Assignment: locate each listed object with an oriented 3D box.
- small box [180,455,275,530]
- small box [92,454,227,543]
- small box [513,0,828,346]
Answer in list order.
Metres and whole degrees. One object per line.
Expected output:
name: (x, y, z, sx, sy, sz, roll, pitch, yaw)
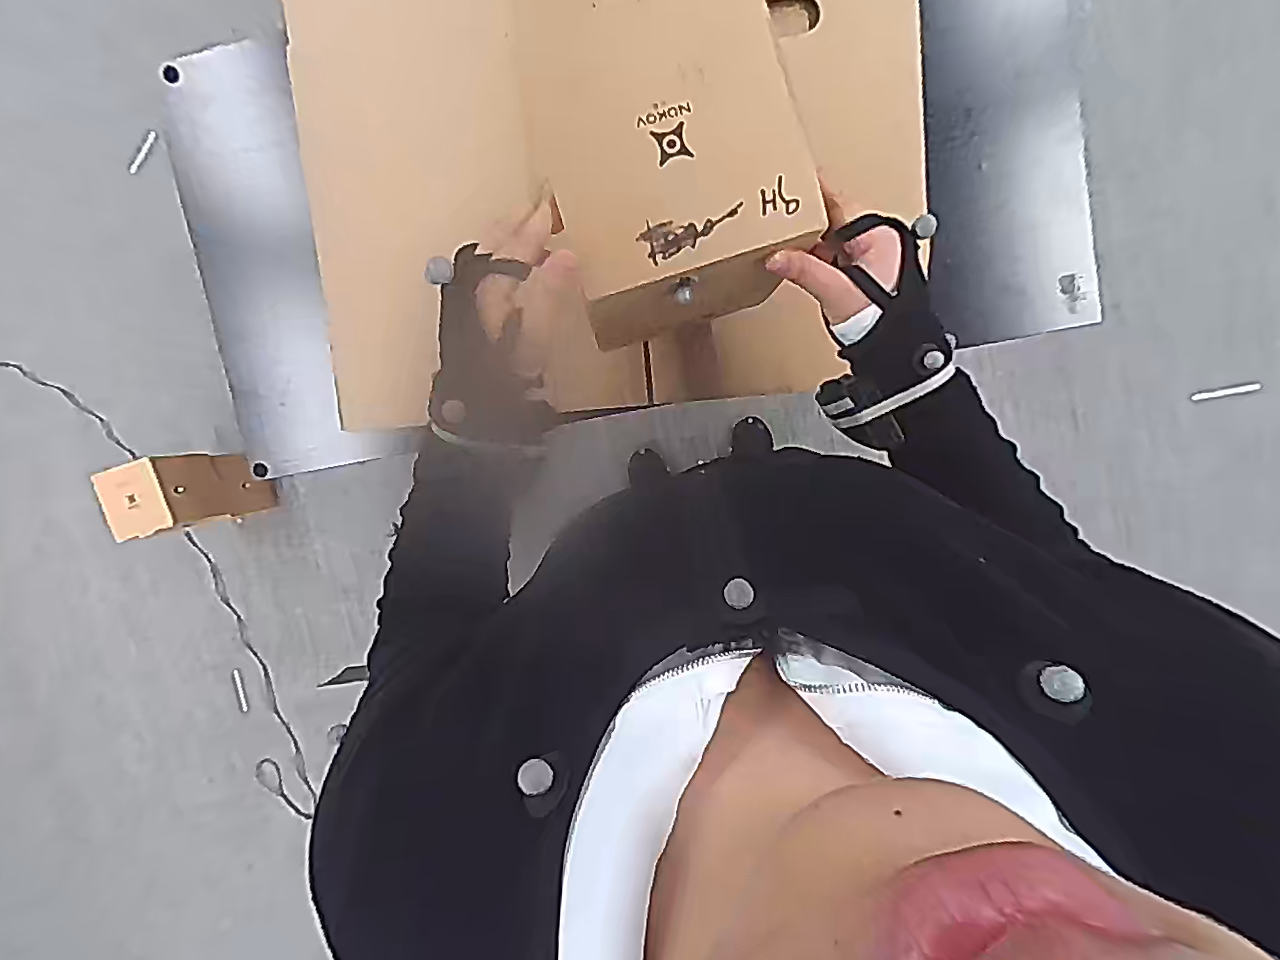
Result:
small box: (-1.190, 0.028, 1.536, 0.168, 0.176, 0.179, -14, 96, 7)
small box: (-1.208, 0.041, 1.375, 0.168, 0.176, 0.179, -17, 94, 6)
small box: (0.018, -0.226, 0.422, 0.168, 0.176, 0.179, -17, 92, 0)
